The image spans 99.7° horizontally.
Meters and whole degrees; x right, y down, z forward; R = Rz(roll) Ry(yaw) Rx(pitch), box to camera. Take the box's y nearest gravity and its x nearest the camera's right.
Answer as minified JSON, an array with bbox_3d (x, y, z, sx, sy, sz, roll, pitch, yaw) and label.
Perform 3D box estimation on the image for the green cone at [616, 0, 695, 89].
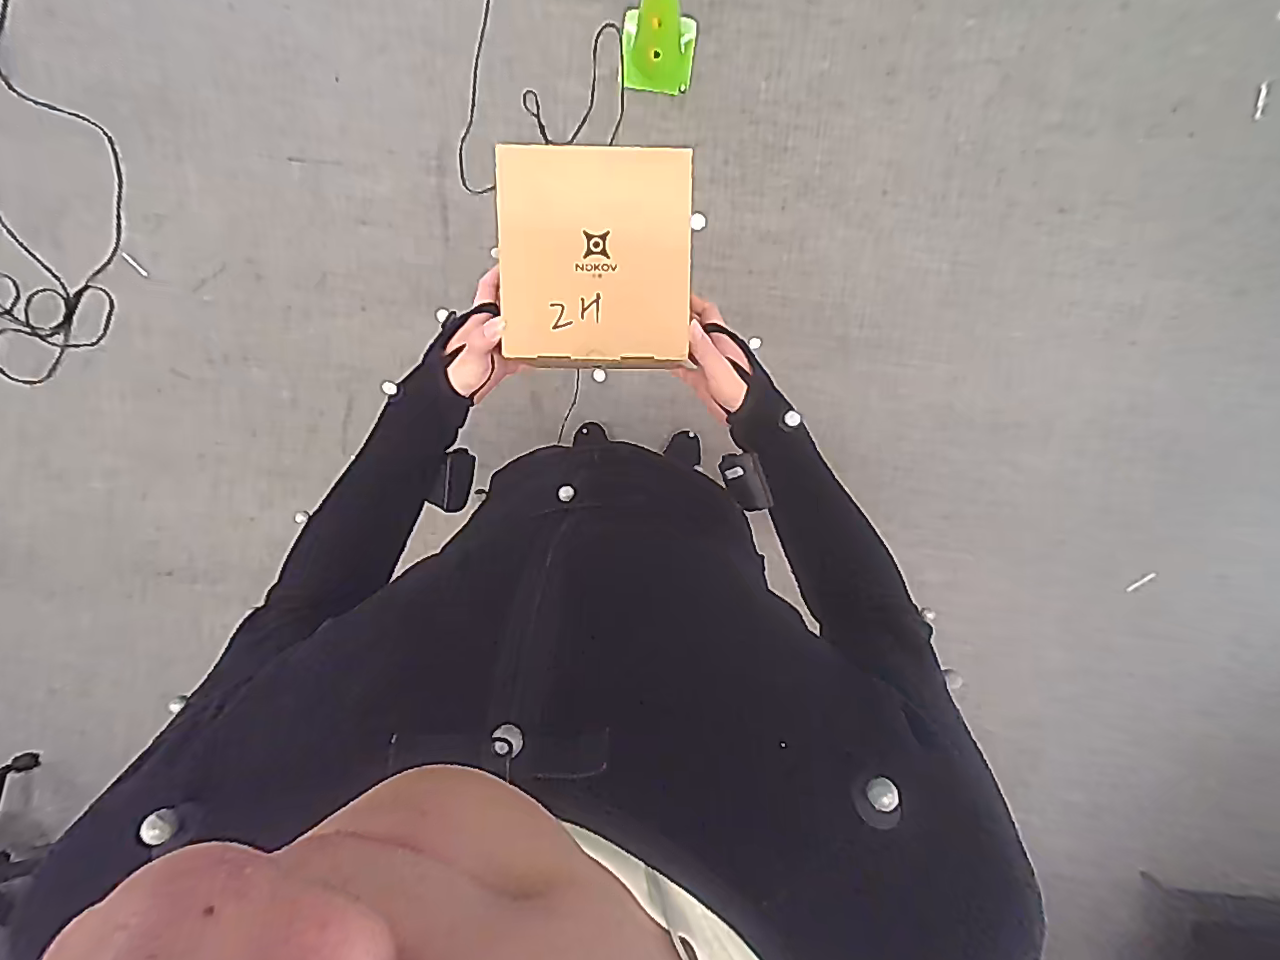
[{"bbox_3d":[0.041,-1.177,1.321,0.202,0.368,0.200,8,96,-1],"label":"green cone"}]

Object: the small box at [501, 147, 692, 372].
[{"bbox_3d":[-0.043,-0.206,0.552,0.168,0.176,0.179,1,99,-2],"label":"small box"}]
